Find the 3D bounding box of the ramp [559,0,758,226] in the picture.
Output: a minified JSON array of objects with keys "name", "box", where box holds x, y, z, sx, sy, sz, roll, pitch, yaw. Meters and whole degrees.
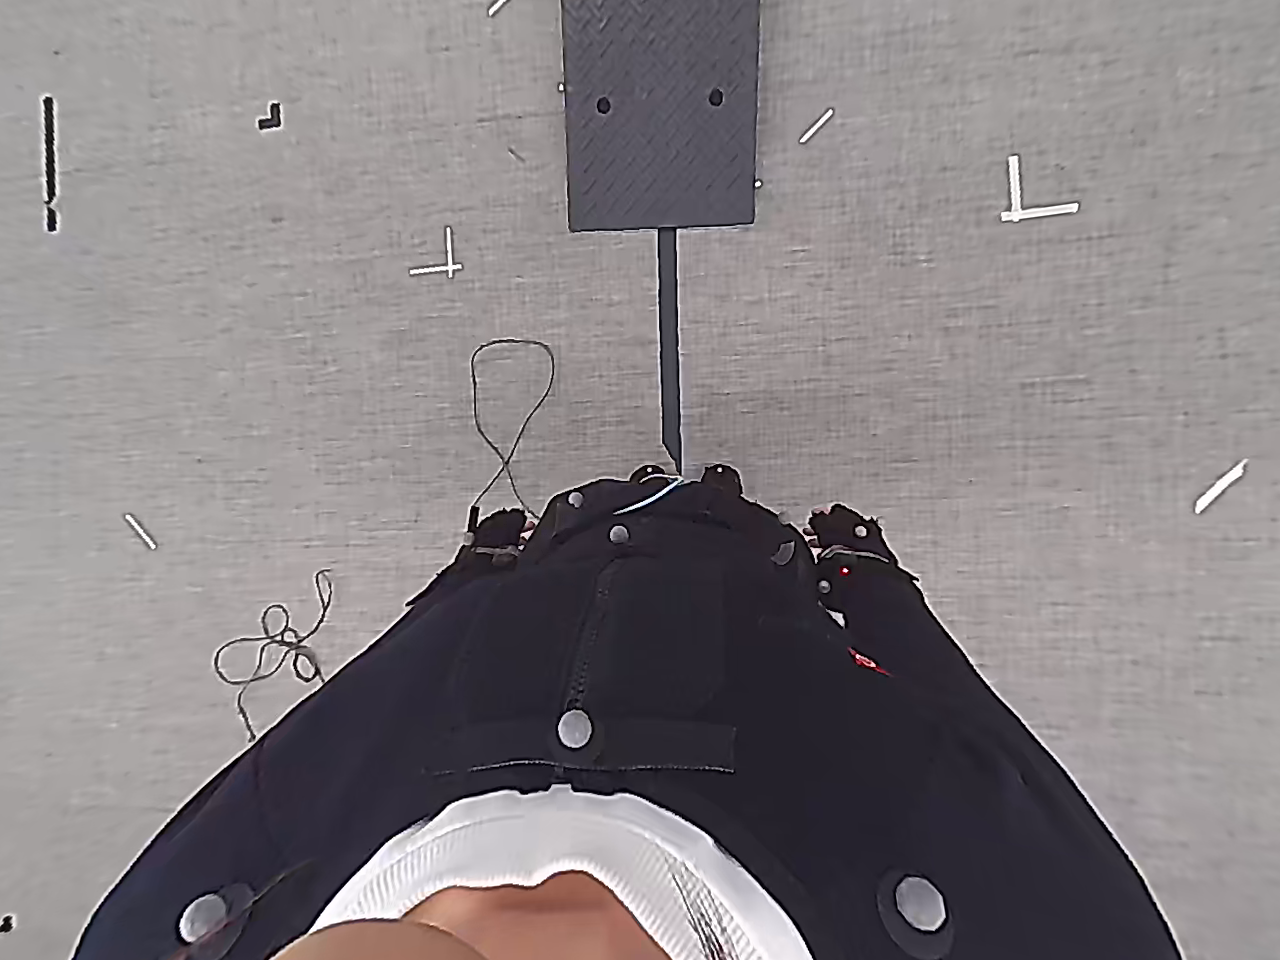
[{"name":"ramp","box":[0.044,-1.168,1.319,0.509,0.206,0.991,-1,92,5]}]
